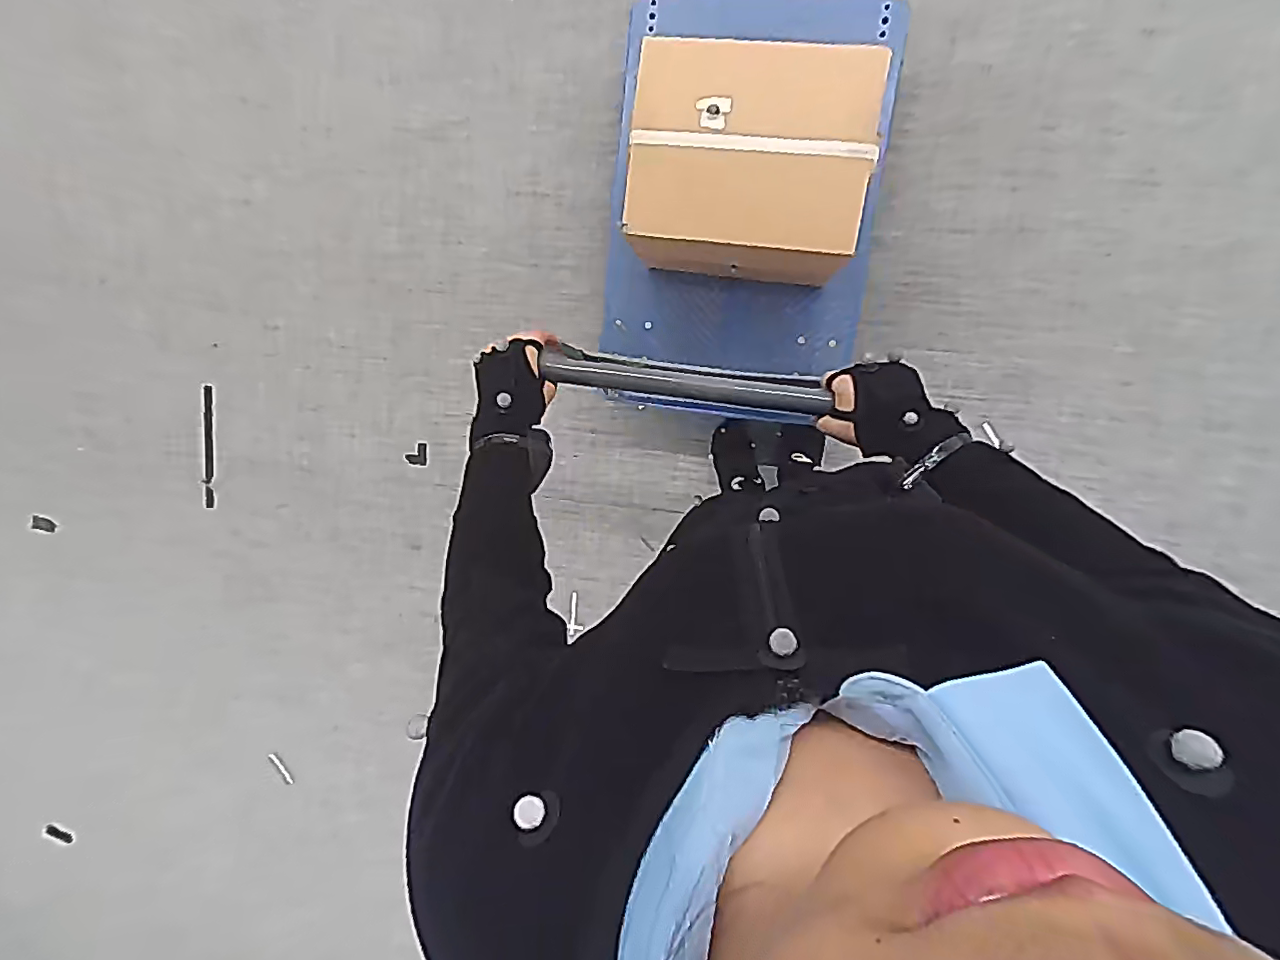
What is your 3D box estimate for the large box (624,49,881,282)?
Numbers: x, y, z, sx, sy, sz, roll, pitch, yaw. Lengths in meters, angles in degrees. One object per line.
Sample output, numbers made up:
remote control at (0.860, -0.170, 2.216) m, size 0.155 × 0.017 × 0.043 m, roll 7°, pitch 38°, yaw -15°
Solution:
large box at (0.209, -0.591, 1.072) m, size 0.408 × 0.320 × 0.320 m, roll 9°, pitch 100°, yaw 9°
